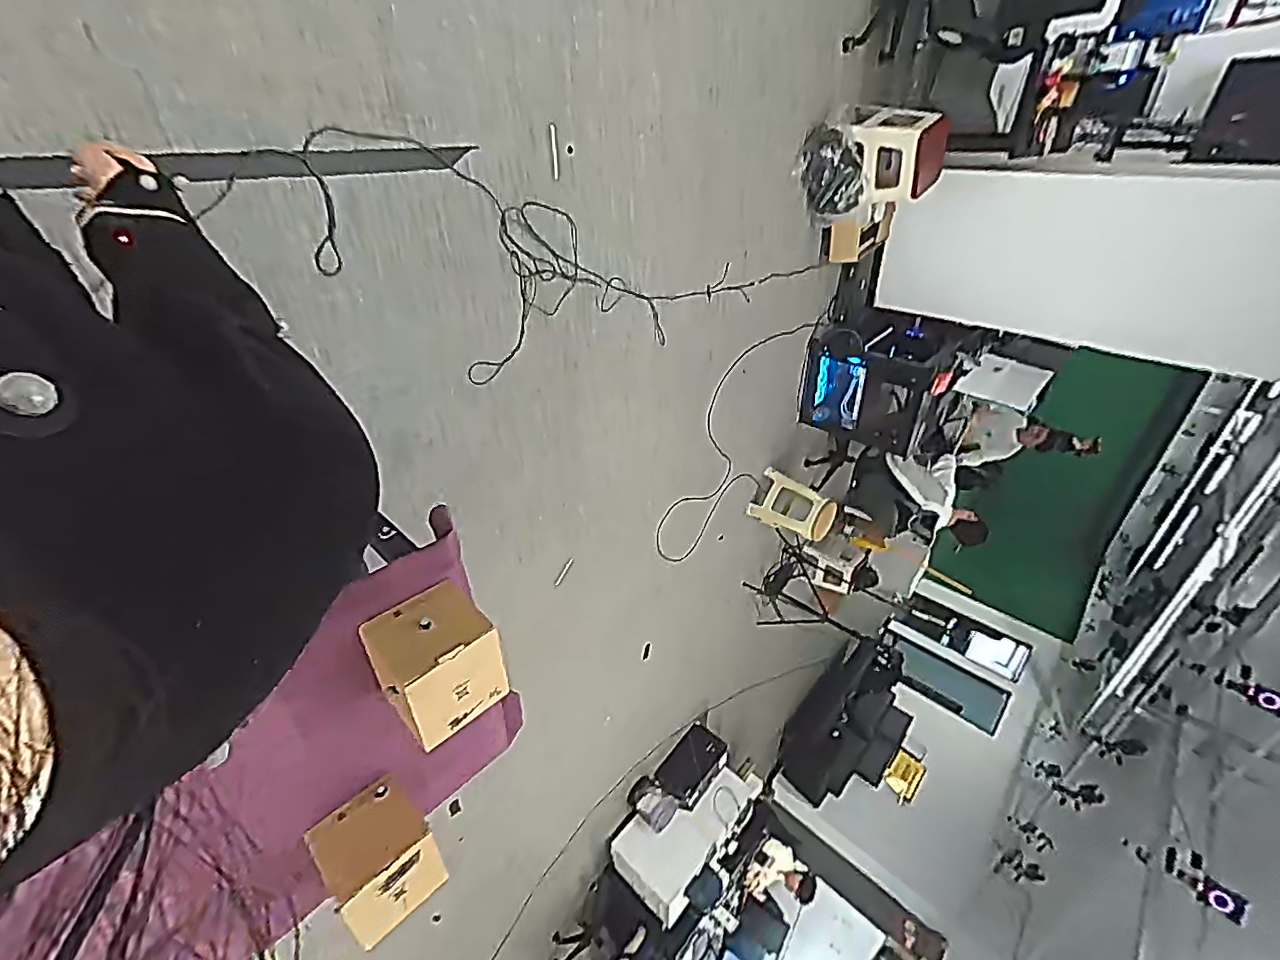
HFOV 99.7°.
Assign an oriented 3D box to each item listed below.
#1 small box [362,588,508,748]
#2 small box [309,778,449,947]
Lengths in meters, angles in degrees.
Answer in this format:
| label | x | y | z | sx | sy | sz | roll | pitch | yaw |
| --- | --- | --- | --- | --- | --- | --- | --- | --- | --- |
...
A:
| label | x | y | z | sx | sy | sz | roll | pitch | yaw |
| --- | --- | --- | --- | --- | --- | --- | --- | --- | --- |
| small box | -0.357 | 0.313 | 0.947 | 0.168 | 0.176 | 0.179 | -29 | 132 | -37 |
| small box | -0.492 | 0.708 | 1.022 | 0.168 | 0.176 | 0.179 | -29 | 131 | -38 |
